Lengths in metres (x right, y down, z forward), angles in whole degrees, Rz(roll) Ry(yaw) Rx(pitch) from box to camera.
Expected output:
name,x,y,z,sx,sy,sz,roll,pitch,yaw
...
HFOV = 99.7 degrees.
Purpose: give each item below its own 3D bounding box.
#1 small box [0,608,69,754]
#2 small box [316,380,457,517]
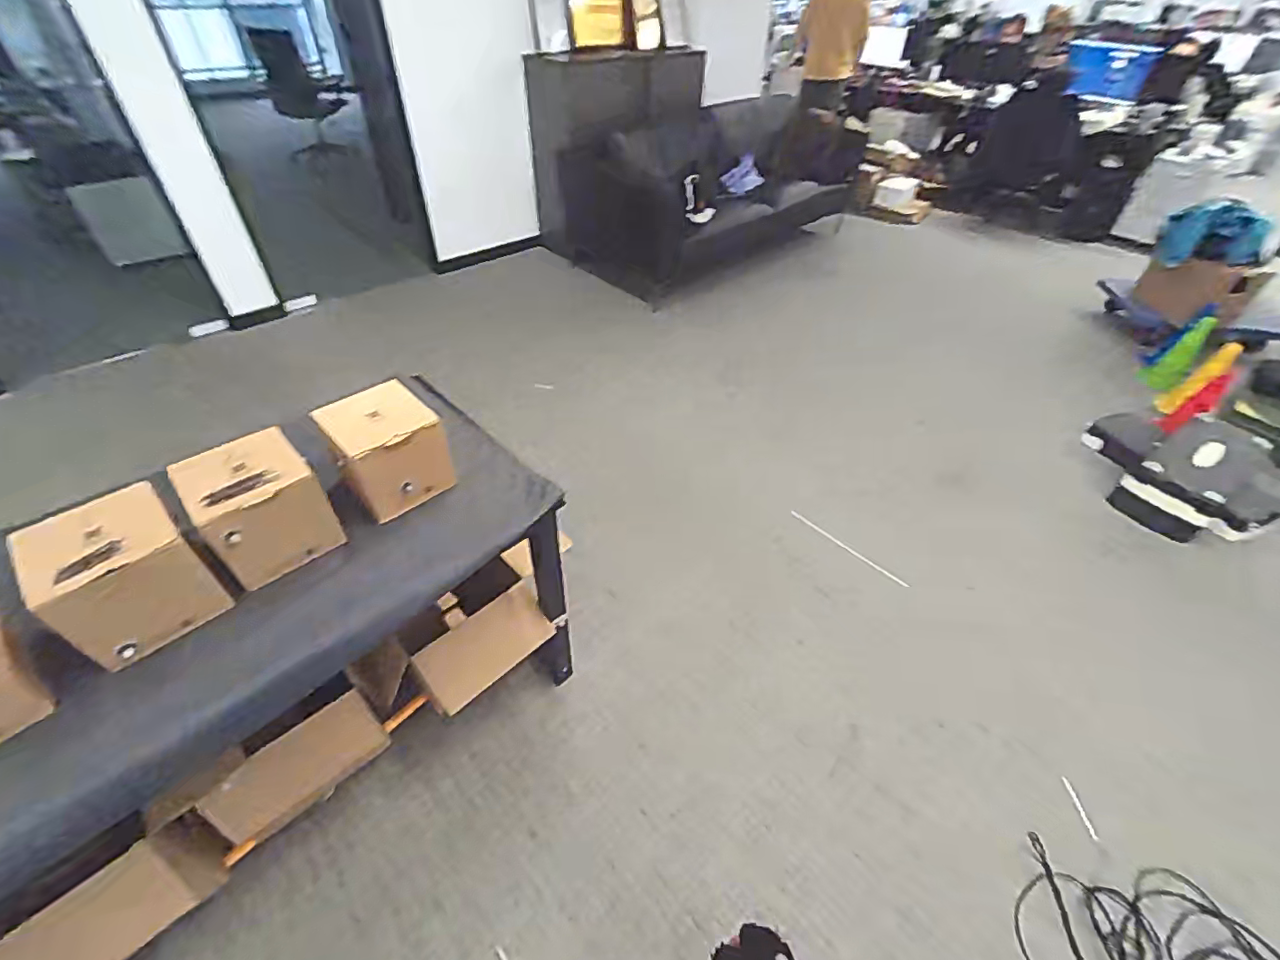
name,x,y,z,sx,sy,sz,roll,pitch,yaw
small box,-0.908,0.265,0.694,0.179,0.176,0.168,32,52,27
small box,-0.482,-0.061,1.046,0.179,0.176,0.168,35,53,29
